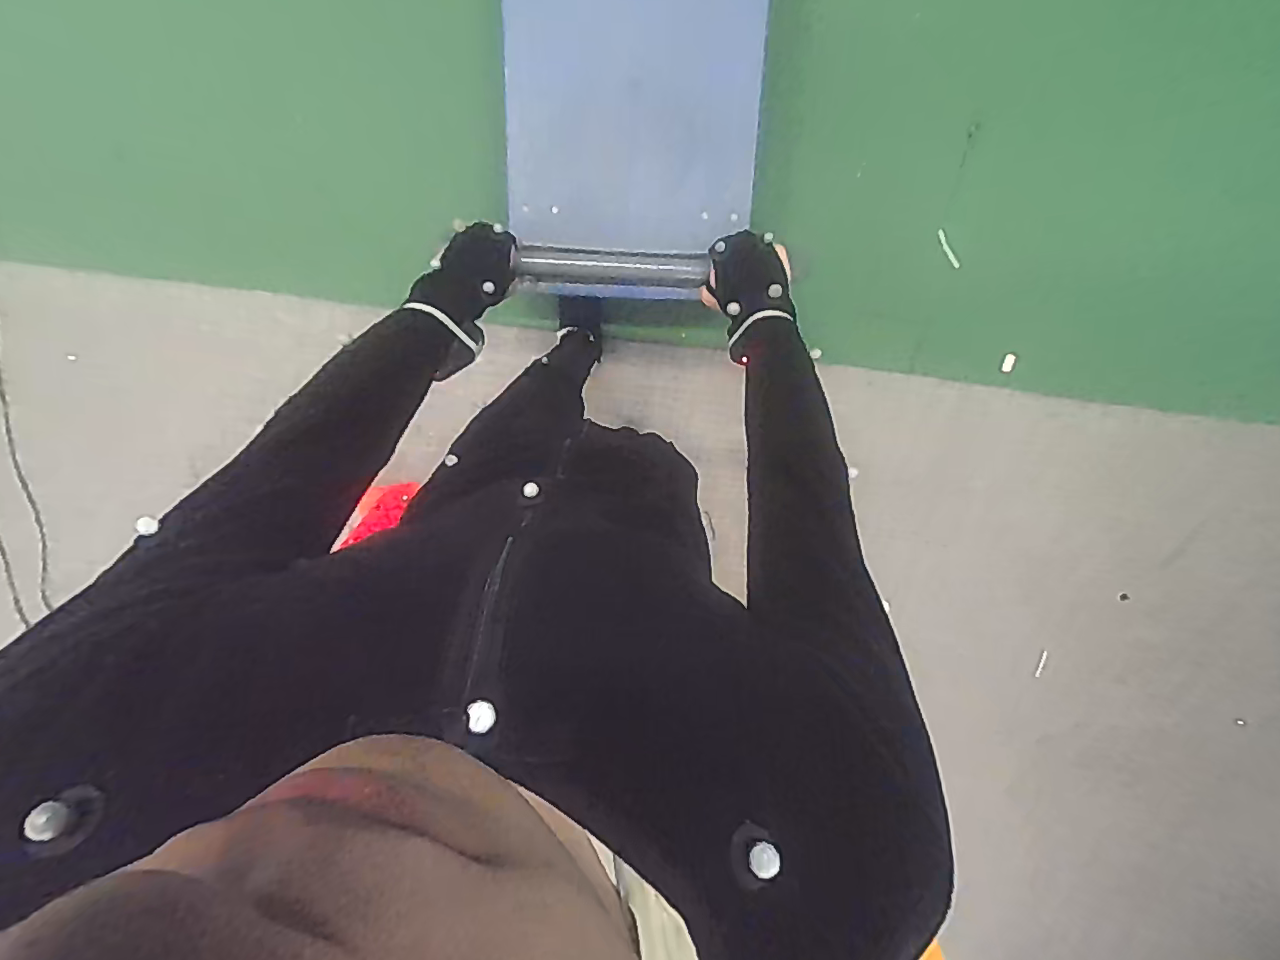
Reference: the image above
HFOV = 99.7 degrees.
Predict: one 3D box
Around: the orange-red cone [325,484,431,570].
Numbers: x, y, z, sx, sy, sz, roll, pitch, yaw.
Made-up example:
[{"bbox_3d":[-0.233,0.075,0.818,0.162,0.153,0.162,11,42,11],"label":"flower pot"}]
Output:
[{"bbox_3d":[-0.742,0.156,1.466,0.199,0.360,0.198,-7,105,2],"label":"orange-red cone"}]
